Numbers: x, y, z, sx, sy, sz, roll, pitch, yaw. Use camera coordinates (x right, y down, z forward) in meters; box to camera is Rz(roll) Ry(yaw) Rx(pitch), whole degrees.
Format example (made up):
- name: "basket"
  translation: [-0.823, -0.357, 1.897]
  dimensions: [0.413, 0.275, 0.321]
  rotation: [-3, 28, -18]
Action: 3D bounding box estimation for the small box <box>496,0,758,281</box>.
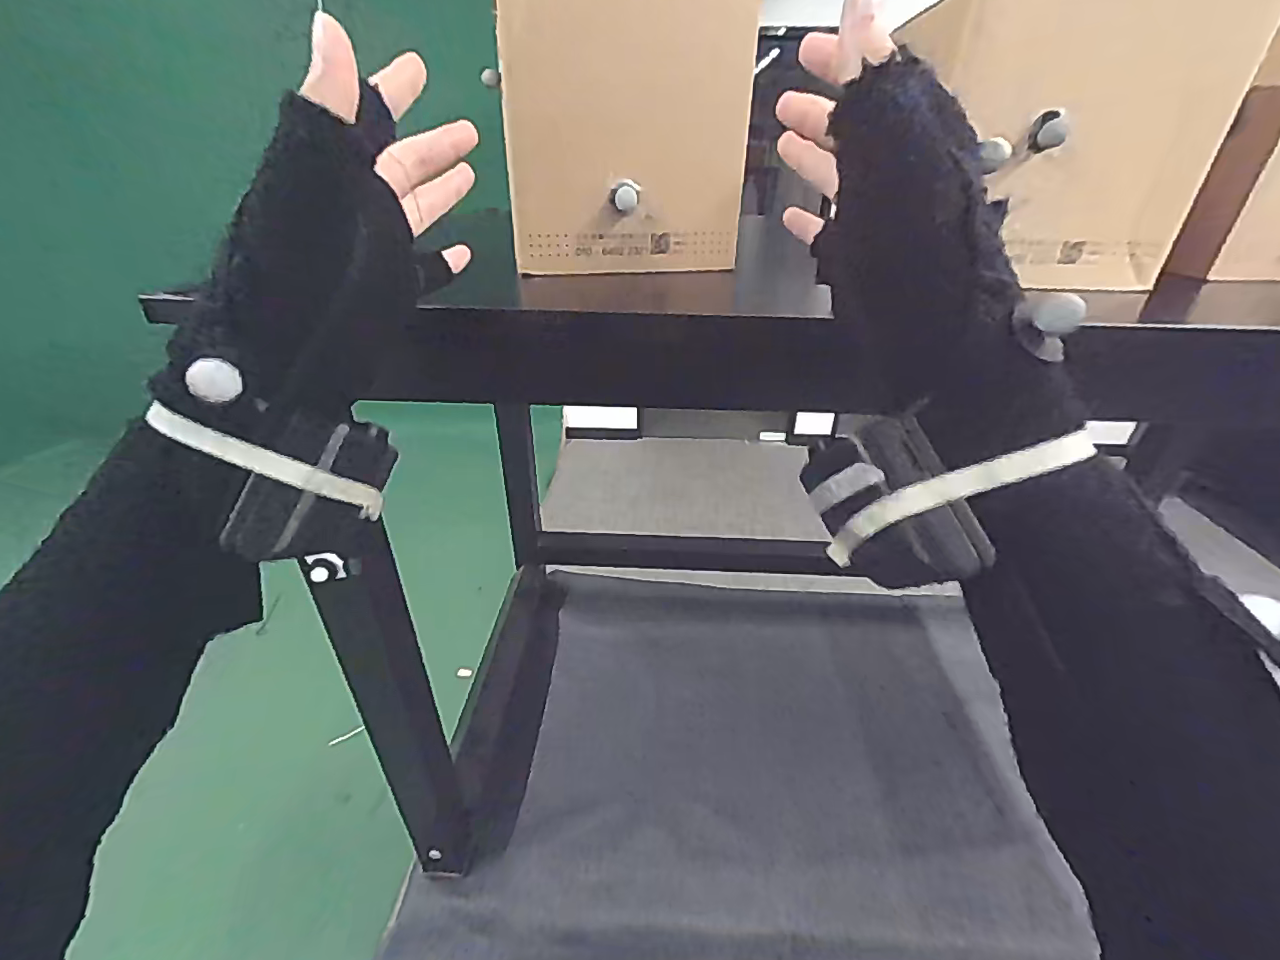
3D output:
- name: "small box"
  translation: [-0.024, -0.265, 0.437]
  dimensions: [0.168, 0.176, 0.179]
  rotation: [-6, 32, -11]
